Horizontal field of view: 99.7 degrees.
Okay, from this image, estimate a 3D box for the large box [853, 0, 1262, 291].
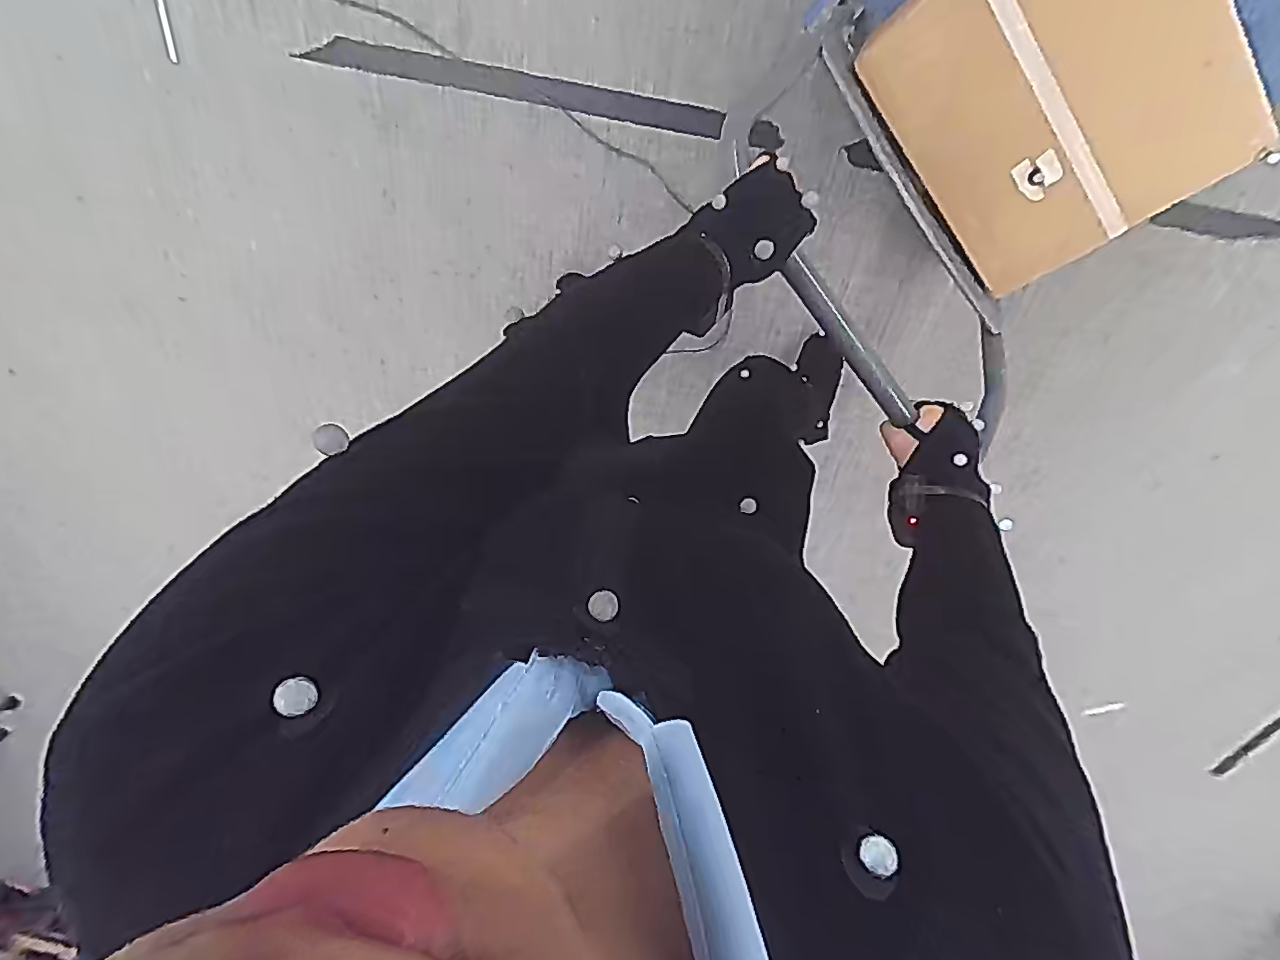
[{"bbox_3d":[0.563,-0.577,0.790,0.408,0.320,0.320,44,135,-19],"label":"large box"}]
